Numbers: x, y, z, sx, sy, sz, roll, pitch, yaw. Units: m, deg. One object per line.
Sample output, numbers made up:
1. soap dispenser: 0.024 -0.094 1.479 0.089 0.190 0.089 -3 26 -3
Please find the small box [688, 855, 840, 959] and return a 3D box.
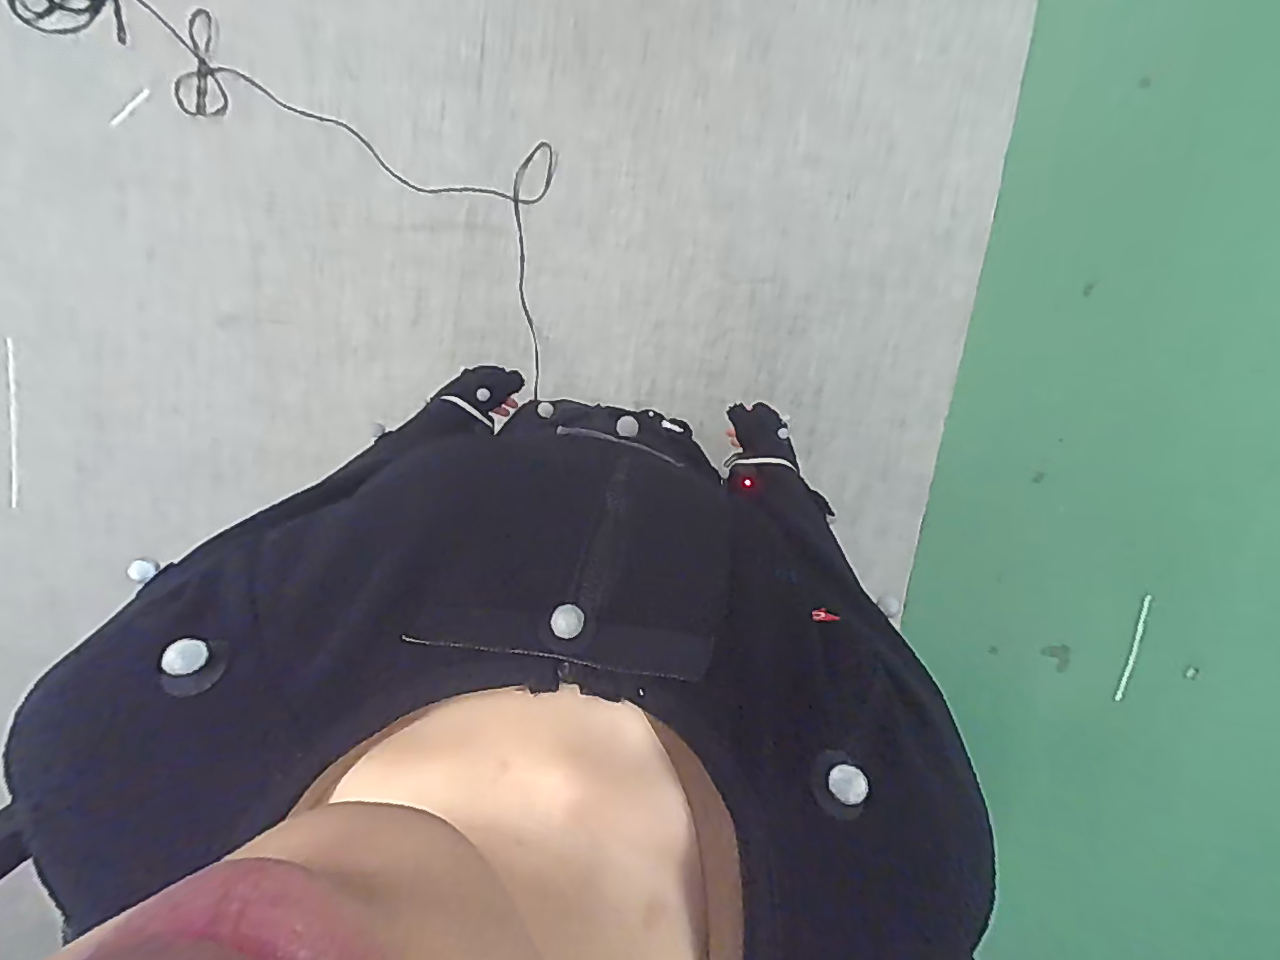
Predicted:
1. small box: 0.160 0.664 0.747 0.168 0.176 0.179 7 98 1
